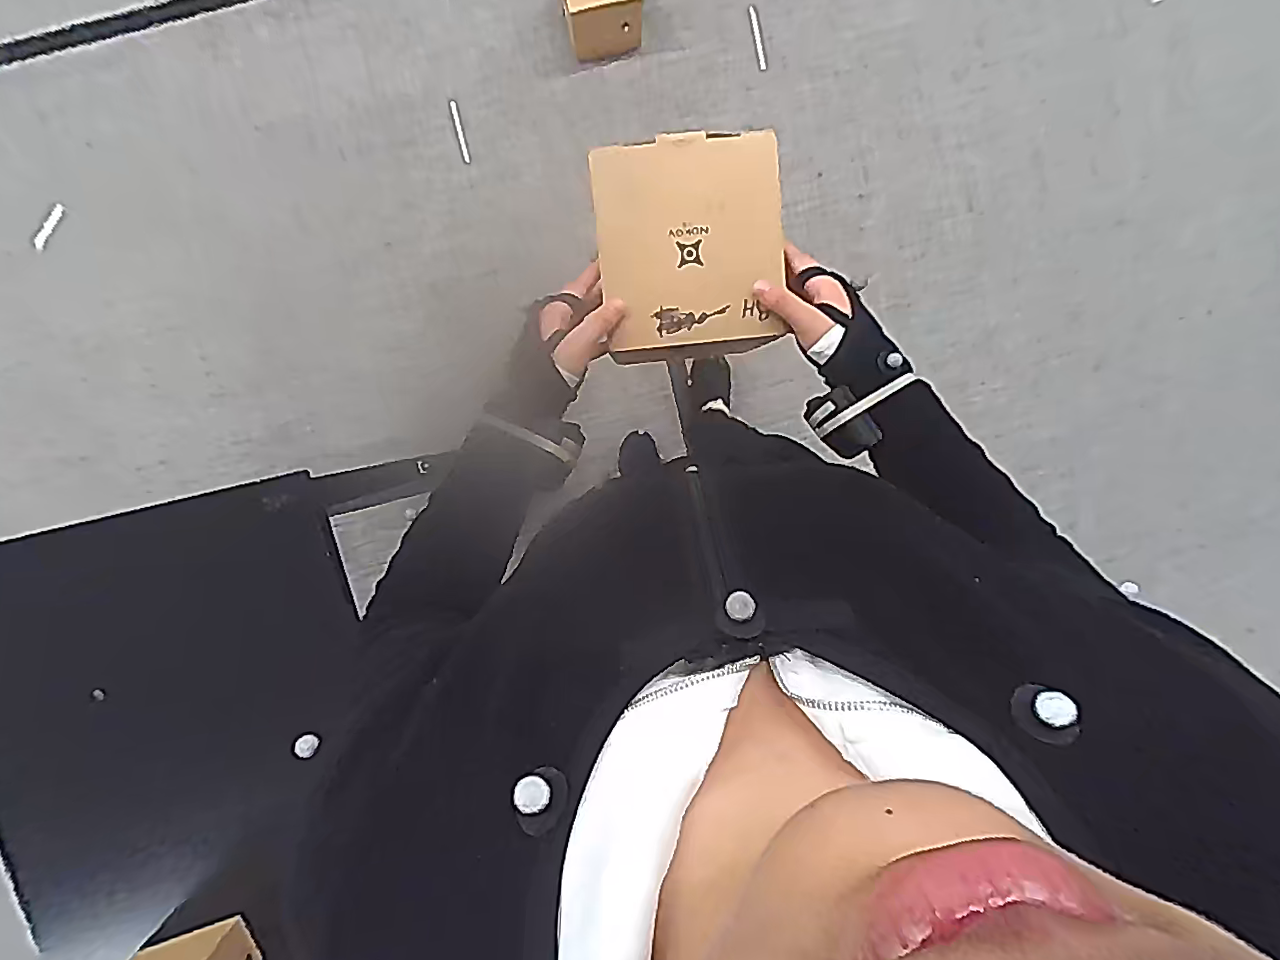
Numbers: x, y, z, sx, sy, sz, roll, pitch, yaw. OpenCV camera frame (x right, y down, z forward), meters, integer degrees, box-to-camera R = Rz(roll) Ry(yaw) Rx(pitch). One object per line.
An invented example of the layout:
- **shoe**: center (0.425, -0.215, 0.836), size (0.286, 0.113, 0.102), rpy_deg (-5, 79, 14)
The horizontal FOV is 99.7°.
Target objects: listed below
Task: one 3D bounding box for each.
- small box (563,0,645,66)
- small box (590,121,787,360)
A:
- **small box**: center (-0.092, -1.149, 1.300), size (0.179, 0.176, 0.168), rpy_deg (-14, 95, 1)
- **small box**: center (0.044, -0.227, 0.556), size (0.168, 0.176, 0.179), rpy_deg (-6, 97, 2)
